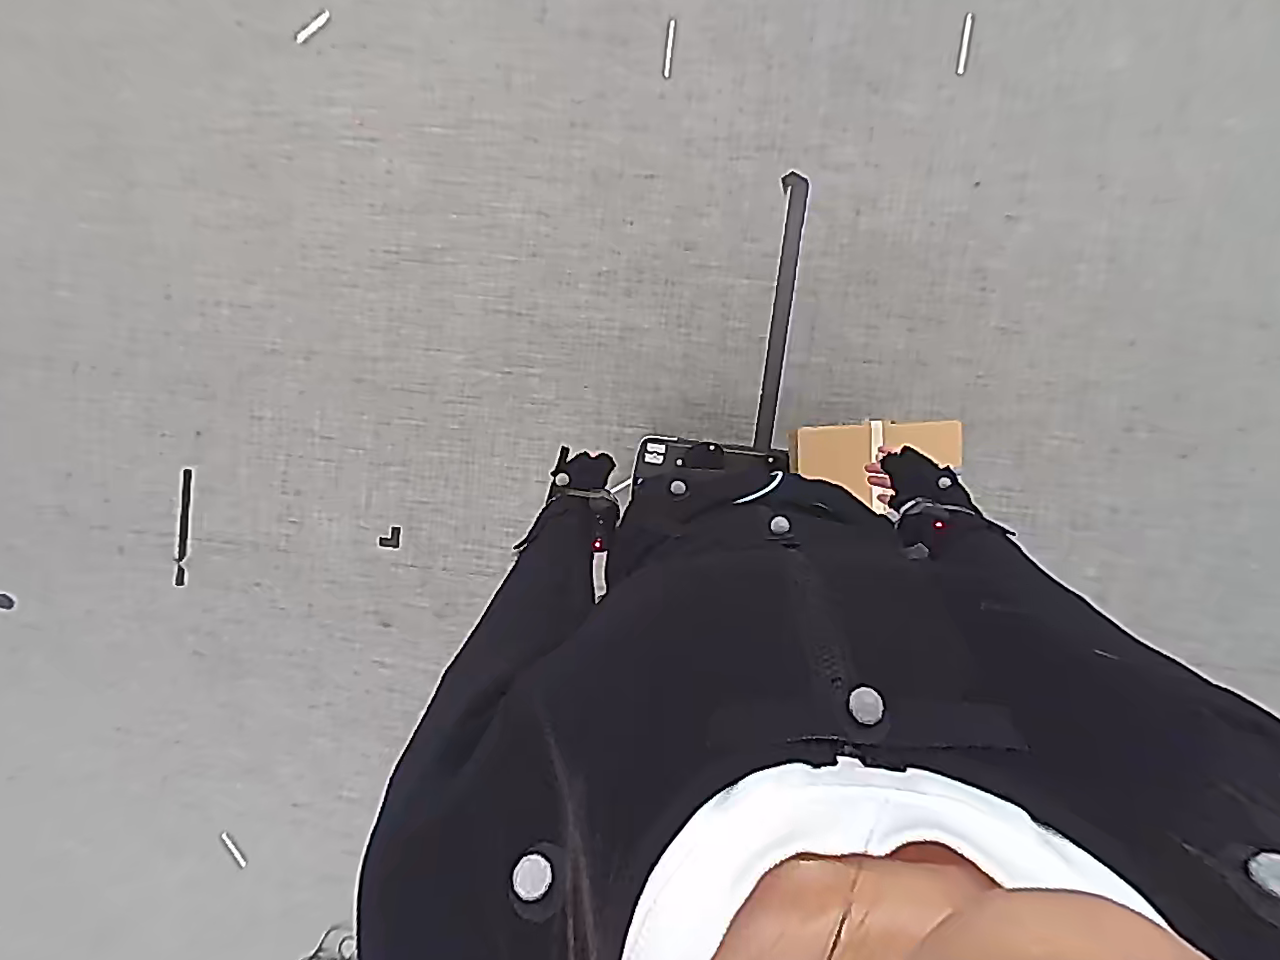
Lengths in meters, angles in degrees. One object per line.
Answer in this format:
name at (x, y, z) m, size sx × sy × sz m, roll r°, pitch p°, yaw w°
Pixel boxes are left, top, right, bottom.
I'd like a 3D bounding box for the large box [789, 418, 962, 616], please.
large box at (0.522, 0.069, 1.256) m, size 0.320 × 0.320 × 0.408 m, roll -2°, pitch 95°, yaw 13°
